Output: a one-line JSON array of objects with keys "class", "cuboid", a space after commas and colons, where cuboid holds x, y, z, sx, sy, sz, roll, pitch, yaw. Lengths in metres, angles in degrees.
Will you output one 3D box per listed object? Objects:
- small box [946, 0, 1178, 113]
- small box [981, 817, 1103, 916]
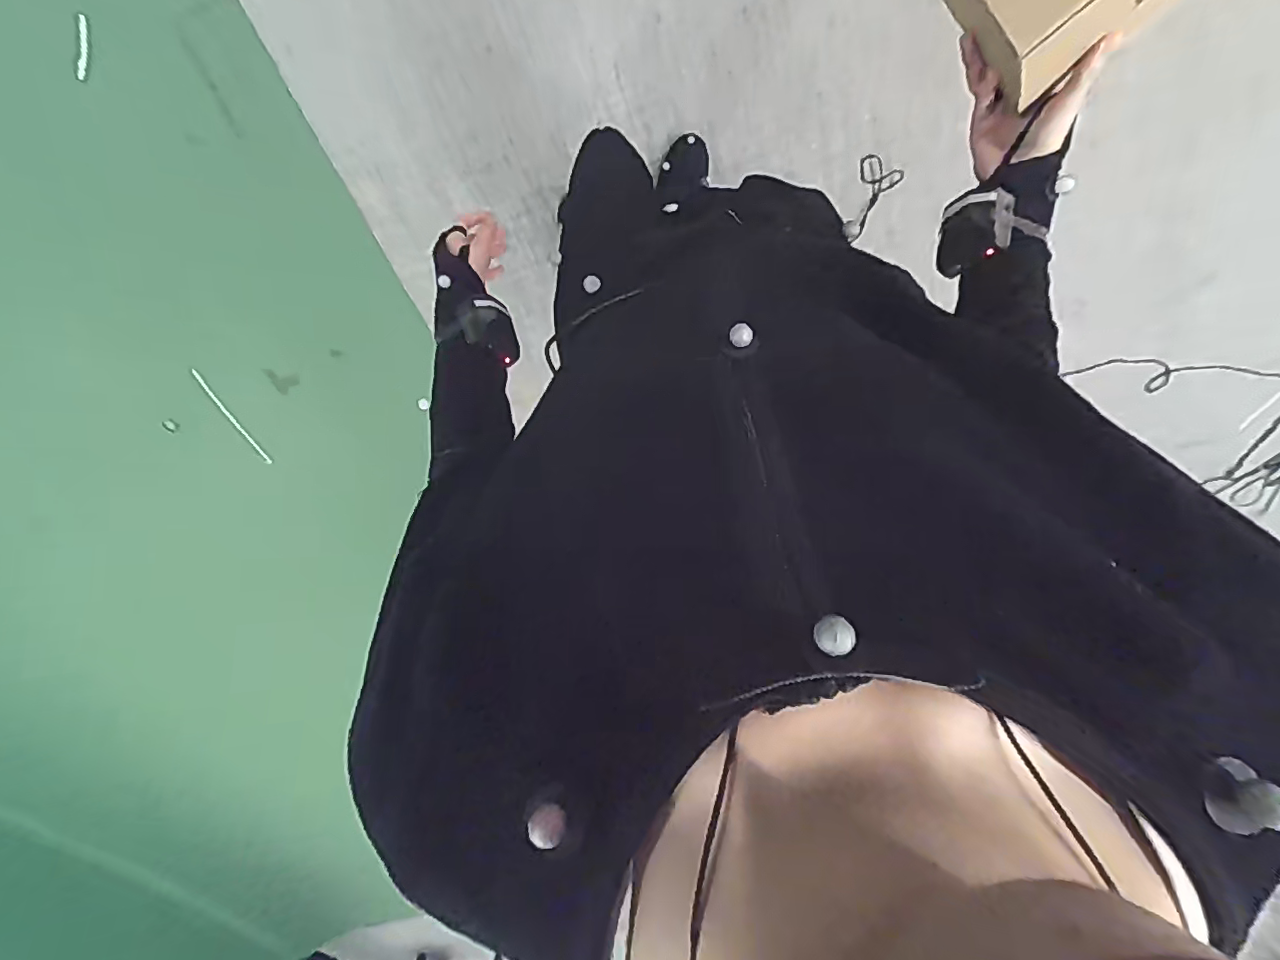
[{"class": "small box", "cuboid": [0.312, -0.407, 0.365, 0.179, 0.168, 0.176, -32, 87, 37]}, {"class": "small box", "cuboid": [1.051, 1.017, 1.430, 0.179, 0.176, 0.168, -5, 122, 2]}]
